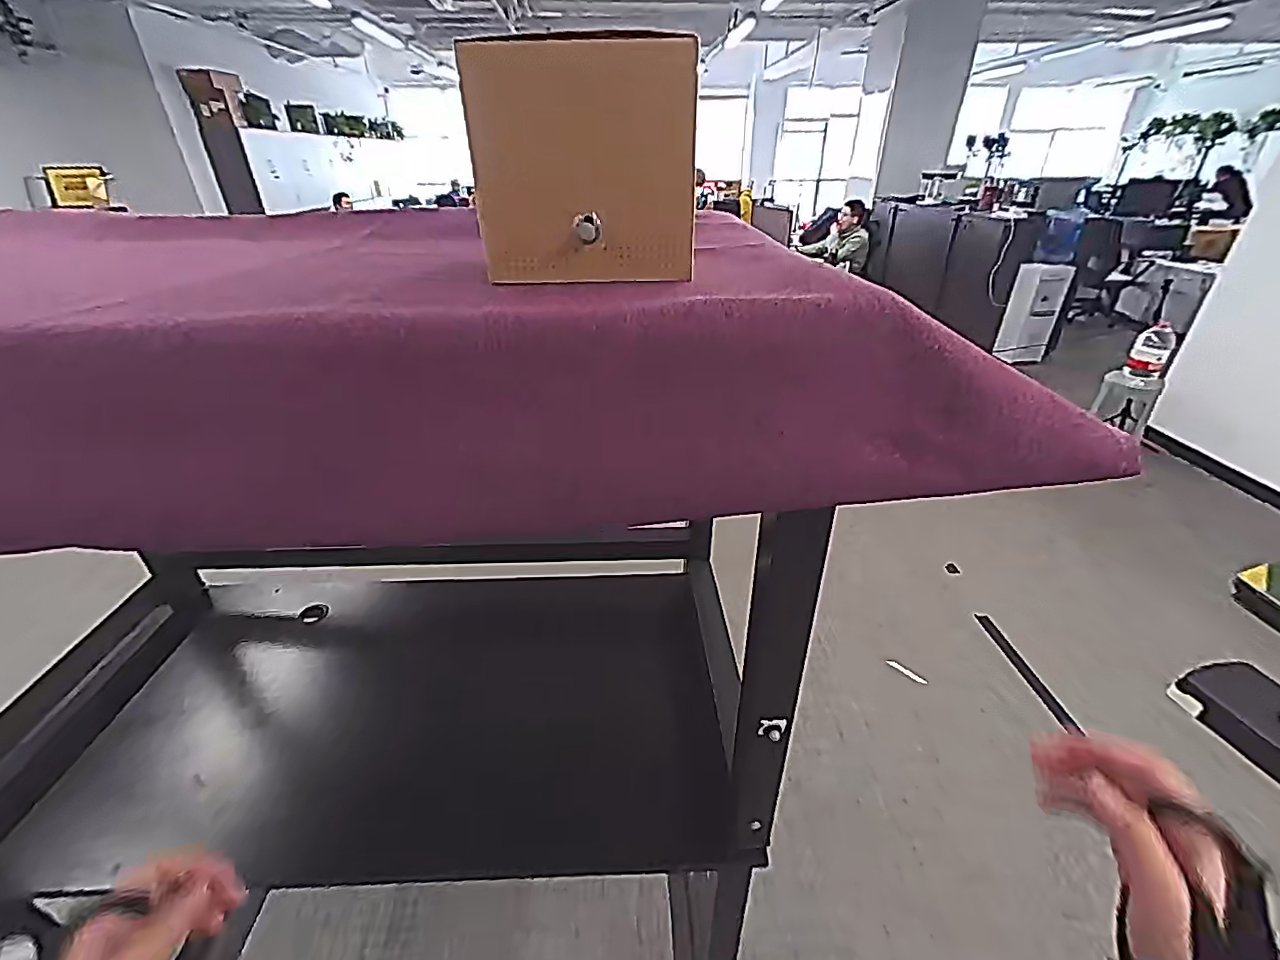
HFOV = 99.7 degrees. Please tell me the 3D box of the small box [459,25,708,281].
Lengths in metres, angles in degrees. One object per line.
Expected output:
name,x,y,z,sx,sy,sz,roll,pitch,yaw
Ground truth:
small box,-0.040,-0.280,0.483,0.179,0.176,0.168,0,29,0
